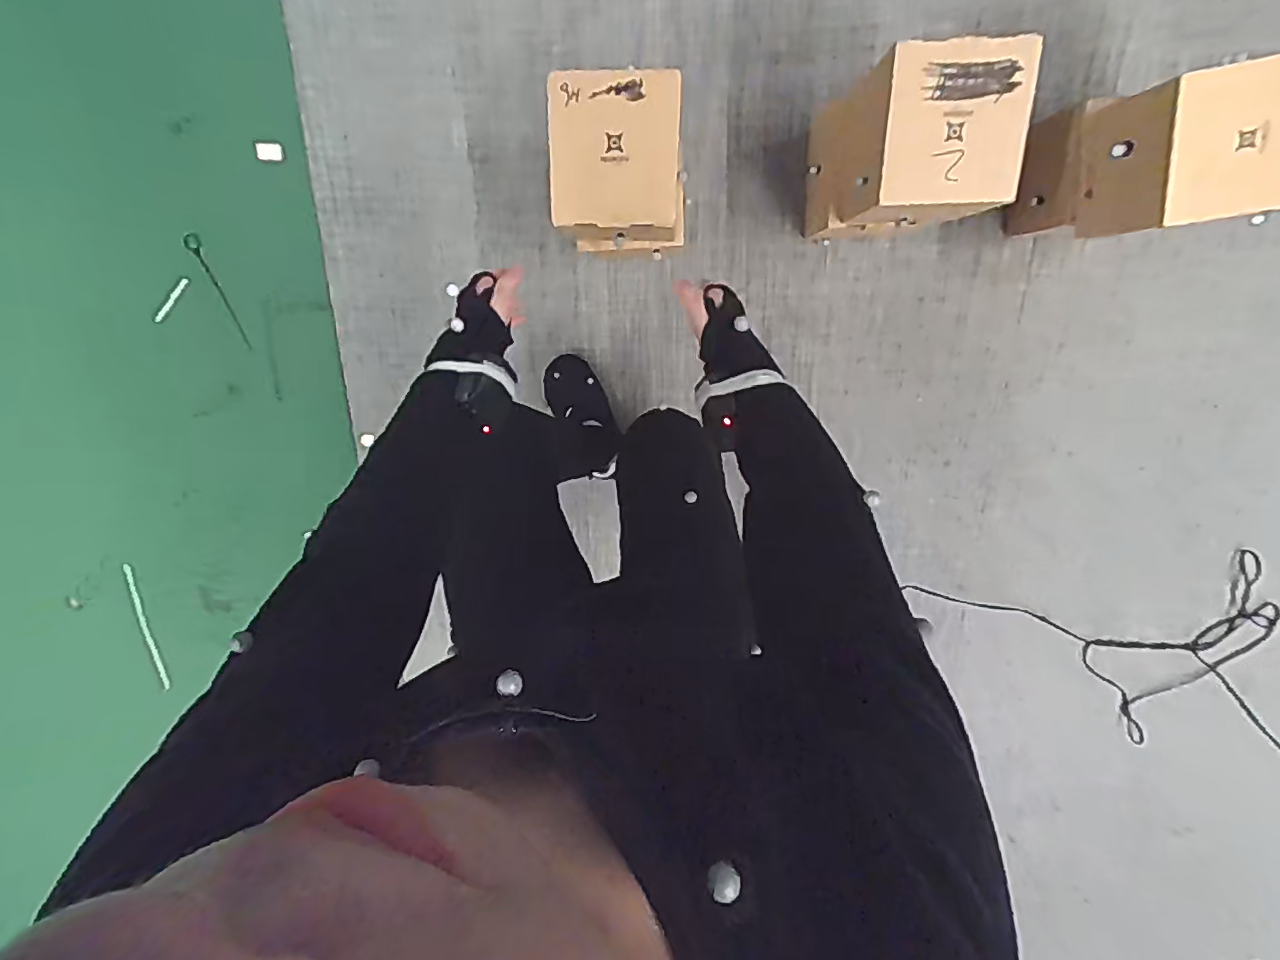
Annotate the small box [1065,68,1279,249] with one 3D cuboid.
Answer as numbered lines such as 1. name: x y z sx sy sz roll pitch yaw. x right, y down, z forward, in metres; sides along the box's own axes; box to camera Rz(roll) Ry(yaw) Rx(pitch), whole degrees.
1. small box: 0.712 -0.413 0.718 0.179 0.176 0.168 -7 108 6

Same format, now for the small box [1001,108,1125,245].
1. small box: 0.720 -0.477 0.868 0.179 0.176 0.168 -3 109 5

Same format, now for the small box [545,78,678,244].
1. small box: -0.034 -0.435 0.765 0.168 0.176 0.179 3 109 3

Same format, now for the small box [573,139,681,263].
1. small box: -0.020 -0.468 0.926 0.179 0.176 0.168 -1 107 4

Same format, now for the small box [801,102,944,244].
1. small box: 0.367 -0.490 0.890 0.168 0.176 0.179 0 107 4
